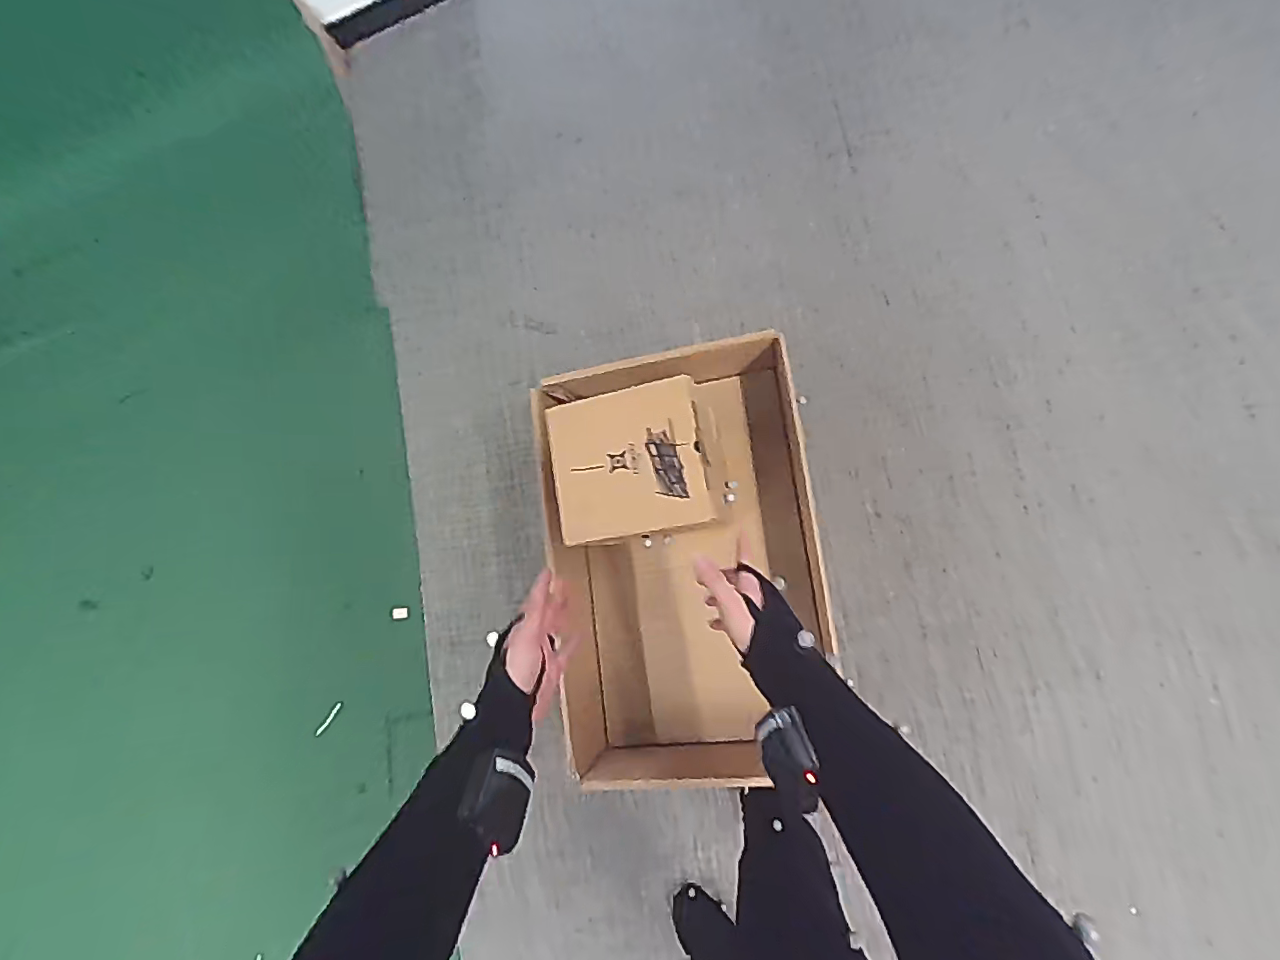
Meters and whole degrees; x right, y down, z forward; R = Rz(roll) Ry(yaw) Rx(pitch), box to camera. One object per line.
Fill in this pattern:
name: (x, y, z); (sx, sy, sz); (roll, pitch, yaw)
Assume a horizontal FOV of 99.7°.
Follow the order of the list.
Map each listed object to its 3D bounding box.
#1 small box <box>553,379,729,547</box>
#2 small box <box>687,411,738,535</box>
small box: (0.012, -0.012, 0.678); (0.179, 0.176, 0.168); (-11, 82, 15)
small box: (0.054, 0.002, 0.836); (0.179, 0.176, 0.168); (-9, 82, 14)
